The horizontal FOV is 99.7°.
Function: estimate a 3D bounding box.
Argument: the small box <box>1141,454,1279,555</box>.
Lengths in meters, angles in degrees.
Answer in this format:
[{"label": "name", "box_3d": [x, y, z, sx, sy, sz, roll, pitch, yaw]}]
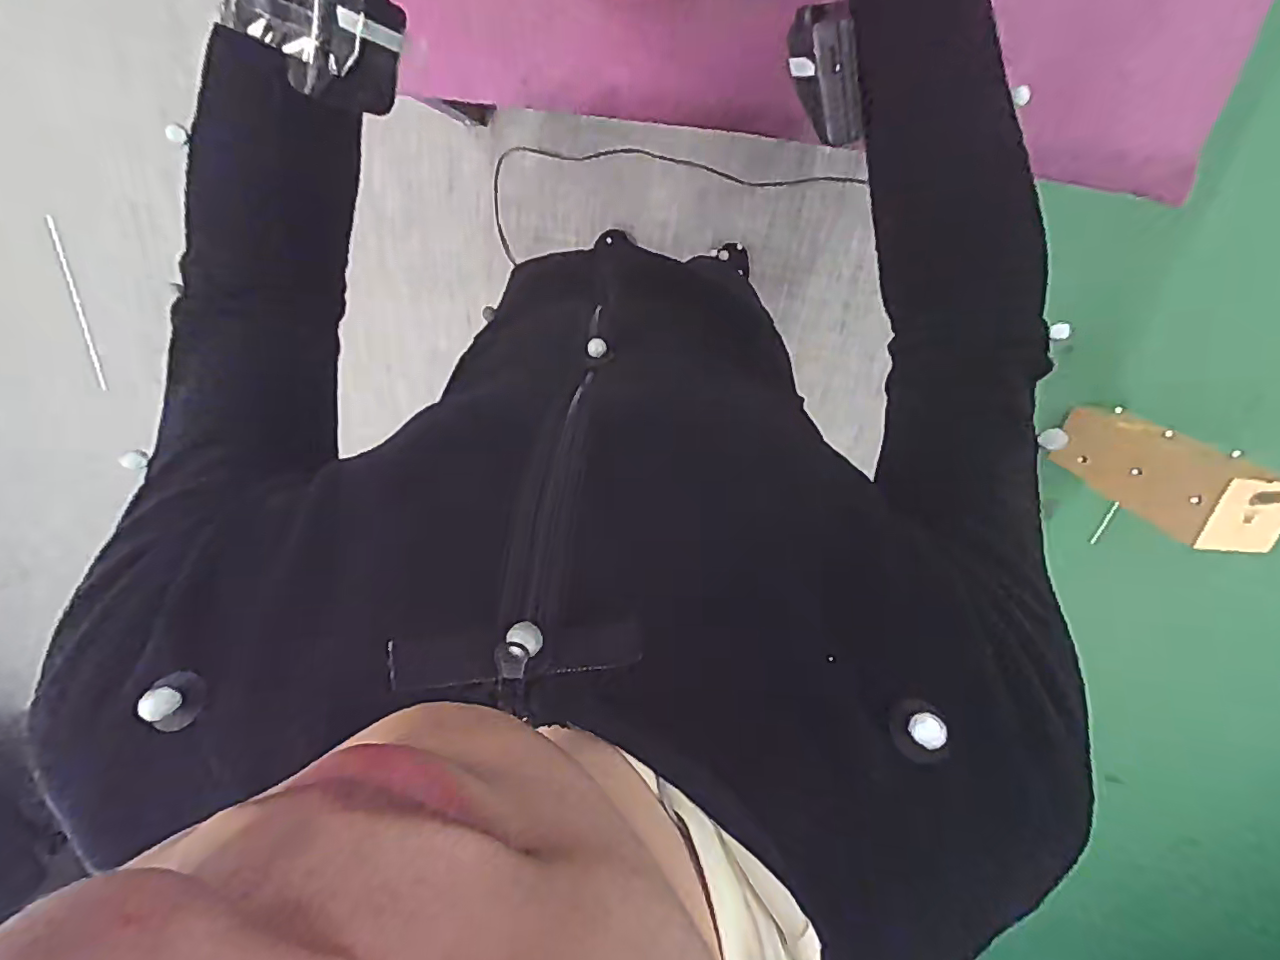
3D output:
[{"label": "small box", "box_3d": [1.320, 0.051, 1.239, 0.168, 0.176, 0.179, 4, 115, 1]}]

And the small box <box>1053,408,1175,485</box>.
[{"label": "small box", "box_3d": [1.328, -0.089, 1.534, 0.168, 0.176, 0.179, 8, 115, -1]}]

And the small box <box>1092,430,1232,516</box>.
[{"label": "small box", "box_3d": [1.324, -0.015, 1.390, 0.168, 0.176, 0.179, 5, 113, 0]}]
